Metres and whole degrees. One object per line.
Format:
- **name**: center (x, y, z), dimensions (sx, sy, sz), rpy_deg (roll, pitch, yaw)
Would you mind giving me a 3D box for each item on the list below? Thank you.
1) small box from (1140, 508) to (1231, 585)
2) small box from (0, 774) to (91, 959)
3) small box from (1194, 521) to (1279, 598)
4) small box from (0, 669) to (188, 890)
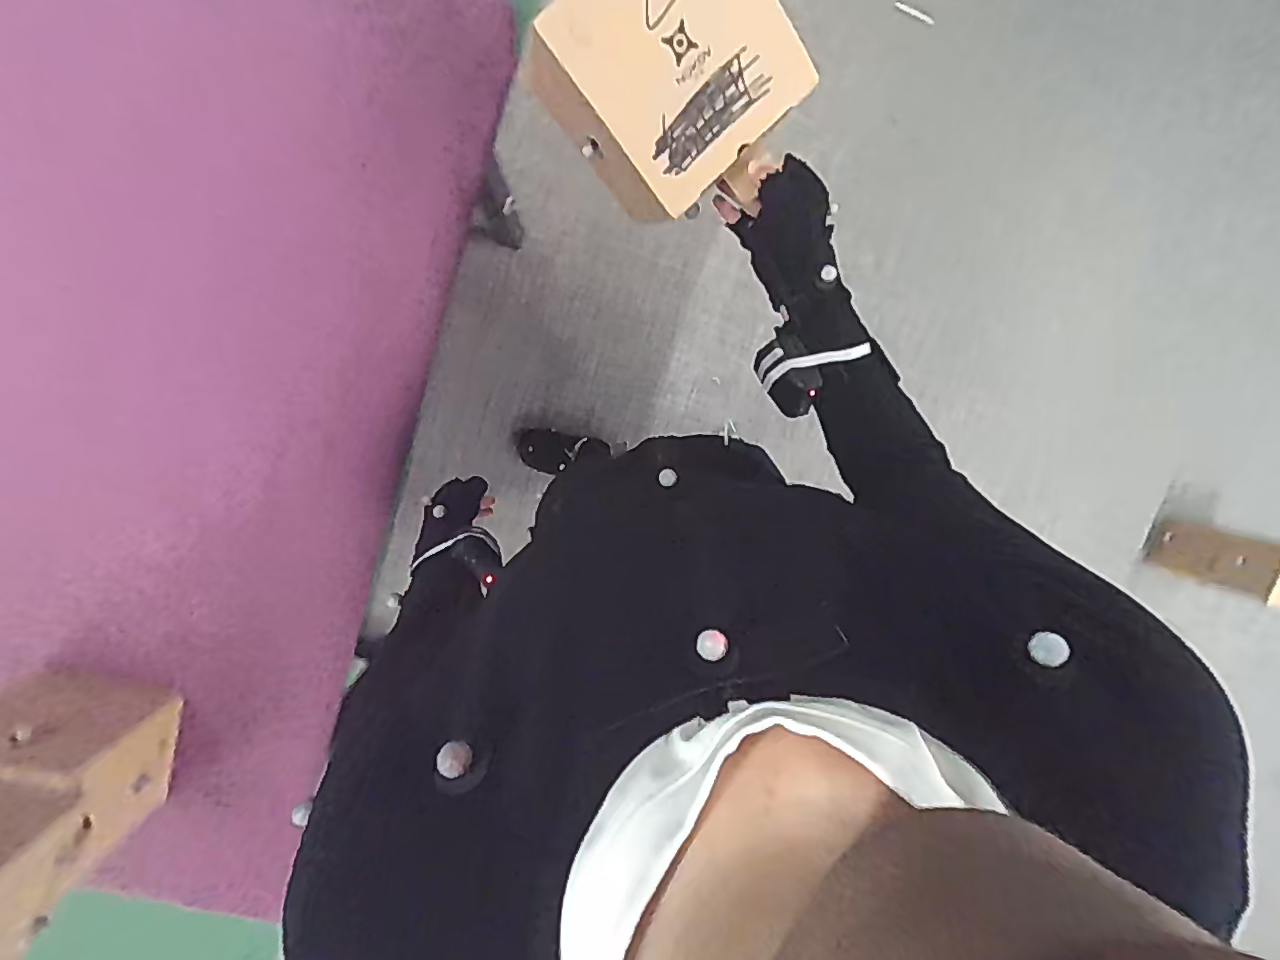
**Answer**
- **small box**: center (1.705, 0.197, 1.649), dimensions (0.179, 0.176, 0.168), rpy_deg (20, 96, -10)
- **small box**: center (-0.676, 0.393, 0.495), dimensions (0.179, 0.176, 0.168), rpy_deg (19, 97, -10)
- **small box**: center (1.705, 0.223, 1.486), dimensions (0.179, 0.176, 0.168), rpy_deg (17, 97, -10)
- **small box**: center (-0.708, 0.351, 0.651), dimensions (0.179, 0.176, 0.168), rpy_deg (15, 98, -10)
